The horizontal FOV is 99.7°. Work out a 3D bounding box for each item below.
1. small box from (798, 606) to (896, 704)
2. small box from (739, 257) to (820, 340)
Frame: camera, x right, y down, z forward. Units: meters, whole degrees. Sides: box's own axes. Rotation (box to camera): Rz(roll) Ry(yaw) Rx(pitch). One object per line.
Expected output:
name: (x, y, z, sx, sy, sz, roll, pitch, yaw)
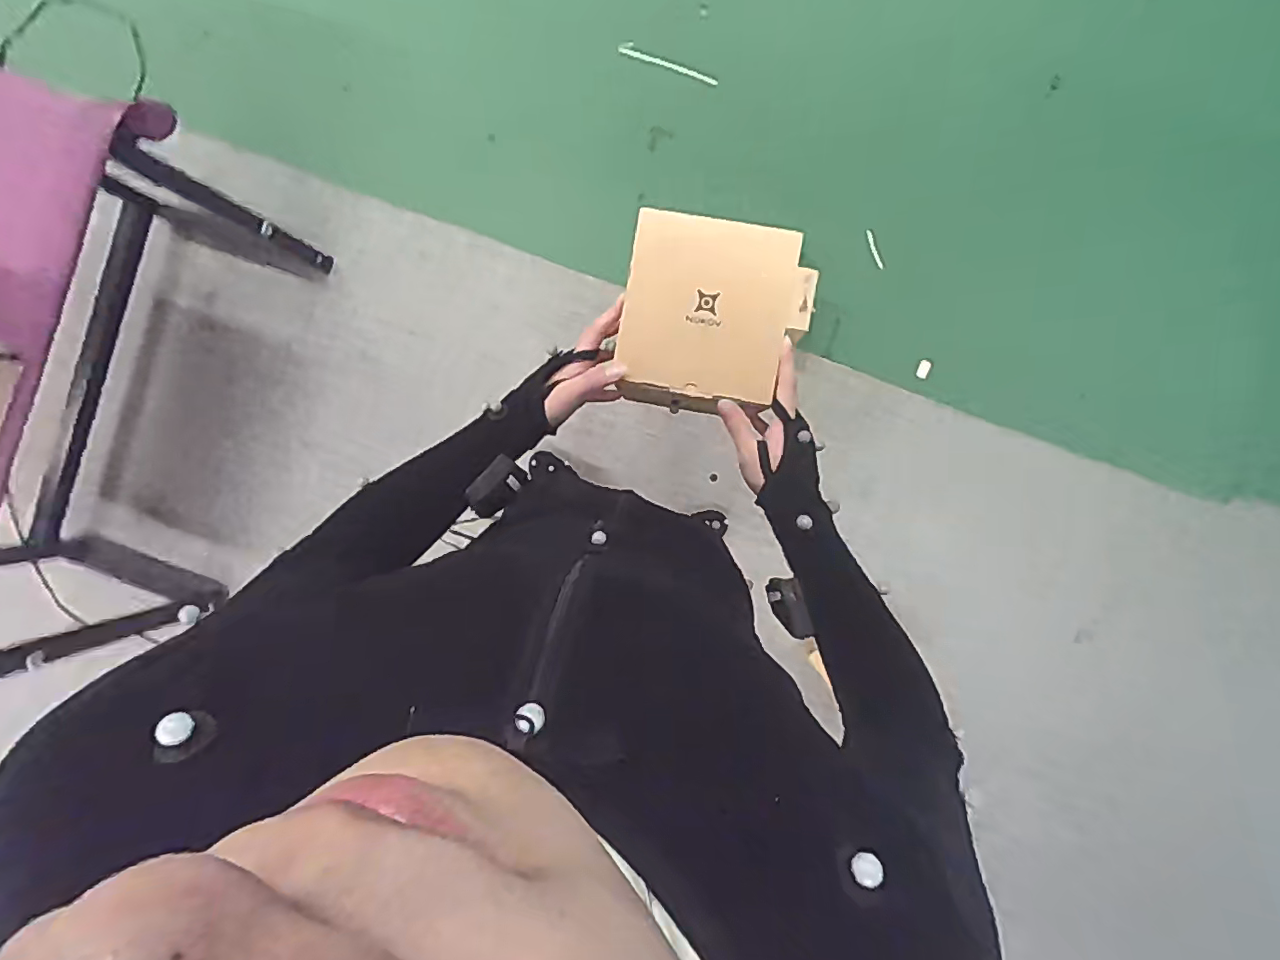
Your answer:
small box: (0.571, 0.482, 1.517, 0.168, 0.176, 0.179, -37, 88, 4)
small box: (0.379, -0.498, 1.504, 0.179, 0.176, 0.168, 10, 92, 4)
